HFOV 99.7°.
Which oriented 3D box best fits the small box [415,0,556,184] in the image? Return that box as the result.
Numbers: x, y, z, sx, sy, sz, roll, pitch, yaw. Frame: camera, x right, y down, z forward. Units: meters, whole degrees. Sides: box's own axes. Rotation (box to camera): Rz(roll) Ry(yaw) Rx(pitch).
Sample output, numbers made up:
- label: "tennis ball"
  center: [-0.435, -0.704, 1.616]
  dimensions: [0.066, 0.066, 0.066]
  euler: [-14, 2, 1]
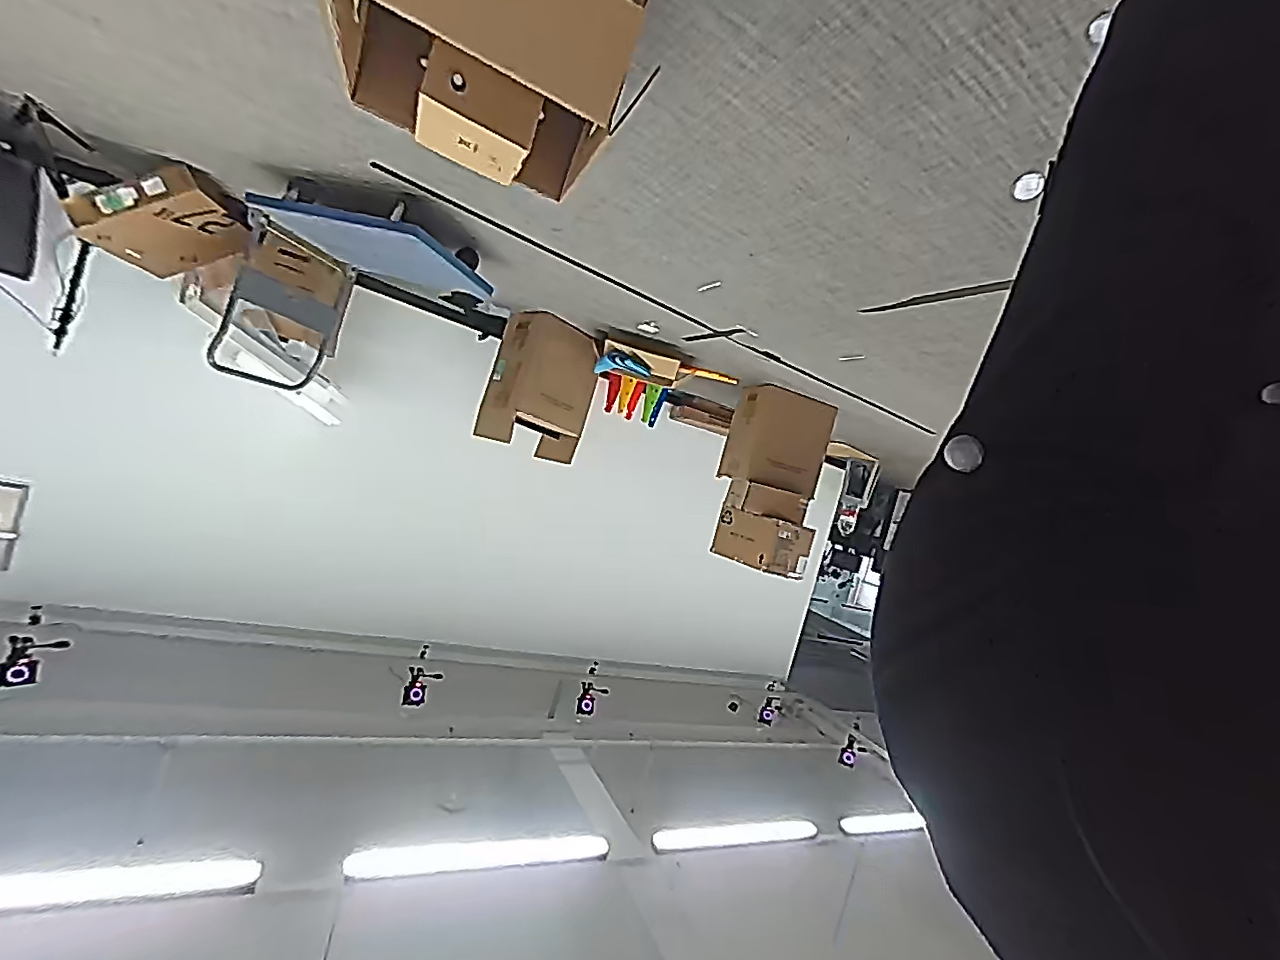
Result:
- label: "small box"
  center: [-0.265, -0.651, 0.916]
  dimensions: [0.179, 0.176, 0.168]
  euler: [16, -179, -26]
